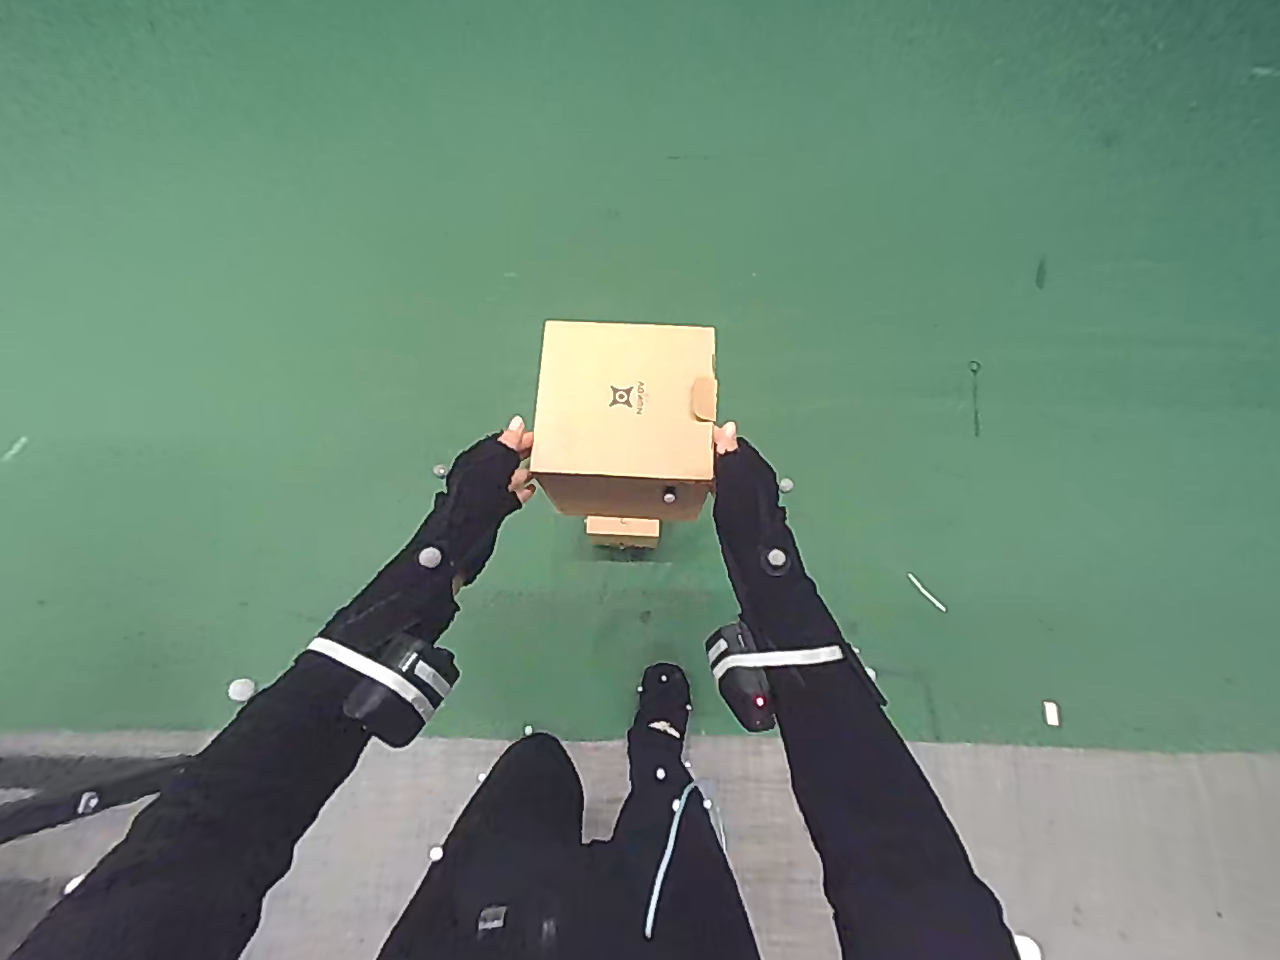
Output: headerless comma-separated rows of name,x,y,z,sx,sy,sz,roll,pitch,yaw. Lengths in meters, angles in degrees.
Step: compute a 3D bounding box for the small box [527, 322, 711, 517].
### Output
small box,-0.016,-0.058,0.609,0.179,0.176,0.168,2,73,1
